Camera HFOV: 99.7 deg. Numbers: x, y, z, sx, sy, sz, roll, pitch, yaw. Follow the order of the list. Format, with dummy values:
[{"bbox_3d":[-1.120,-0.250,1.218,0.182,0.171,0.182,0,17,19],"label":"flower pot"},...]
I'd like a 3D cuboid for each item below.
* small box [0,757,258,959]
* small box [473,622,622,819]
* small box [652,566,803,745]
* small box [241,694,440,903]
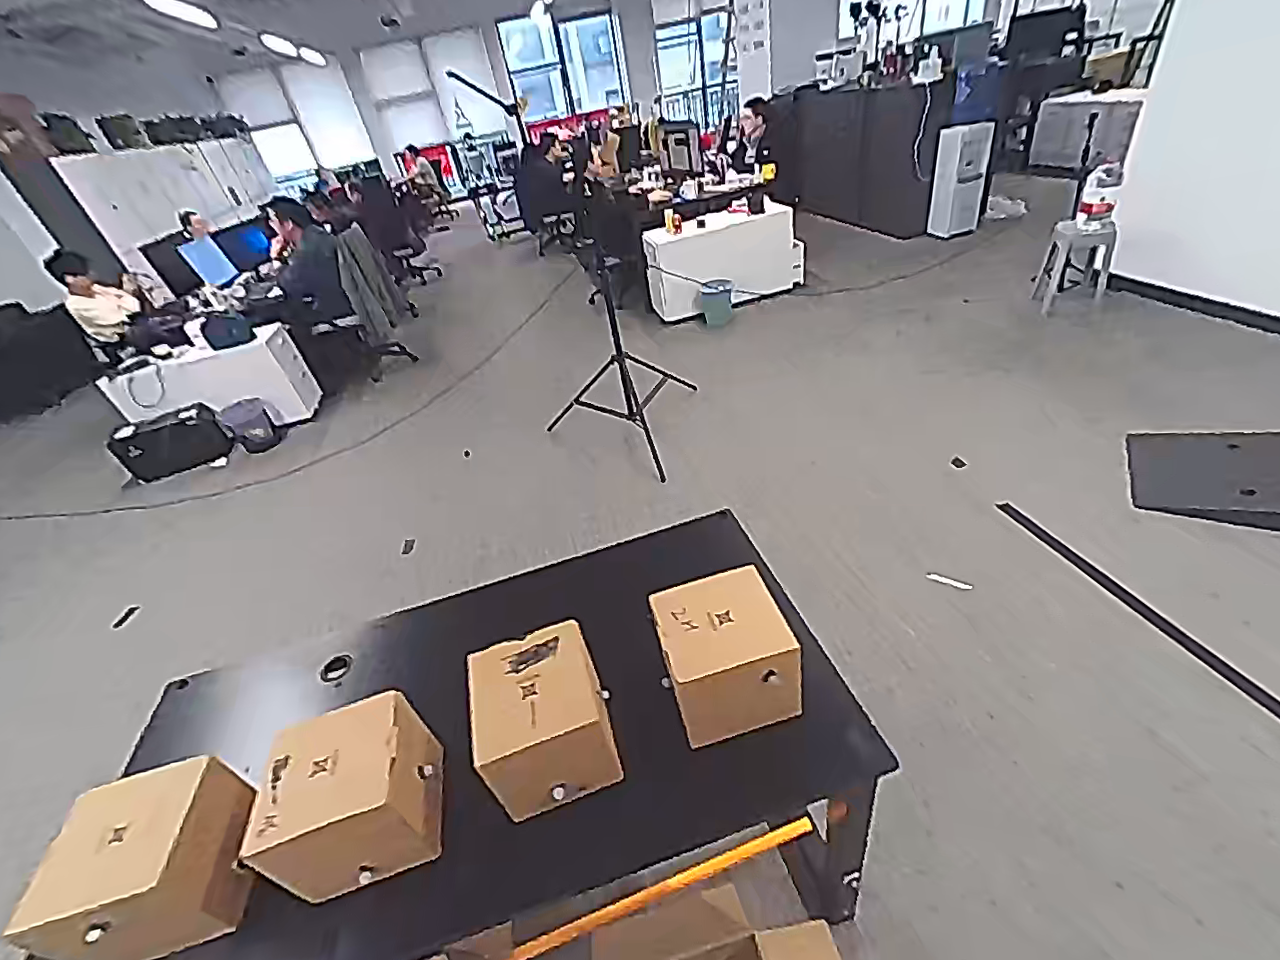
[{"bbox_3d":[-0.640,0.511,0.717,0.179,0.176,0.168,-15,37,-6],"label":"small box"},{"bbox_3d":[-0.135,0.348,0.790,0.168,0.176,0.179,-18,37,-8],"label":"small box"},{"bbox_3d":[0.130,0.265,0.821,0.179,0.176,0.168,-16,35,-4],"label":"small box"},{"bbox_3d":[-0.389,0.436,0.745,0.179,0.176,0.168,-17,36,-8],"label":"small box"}]
